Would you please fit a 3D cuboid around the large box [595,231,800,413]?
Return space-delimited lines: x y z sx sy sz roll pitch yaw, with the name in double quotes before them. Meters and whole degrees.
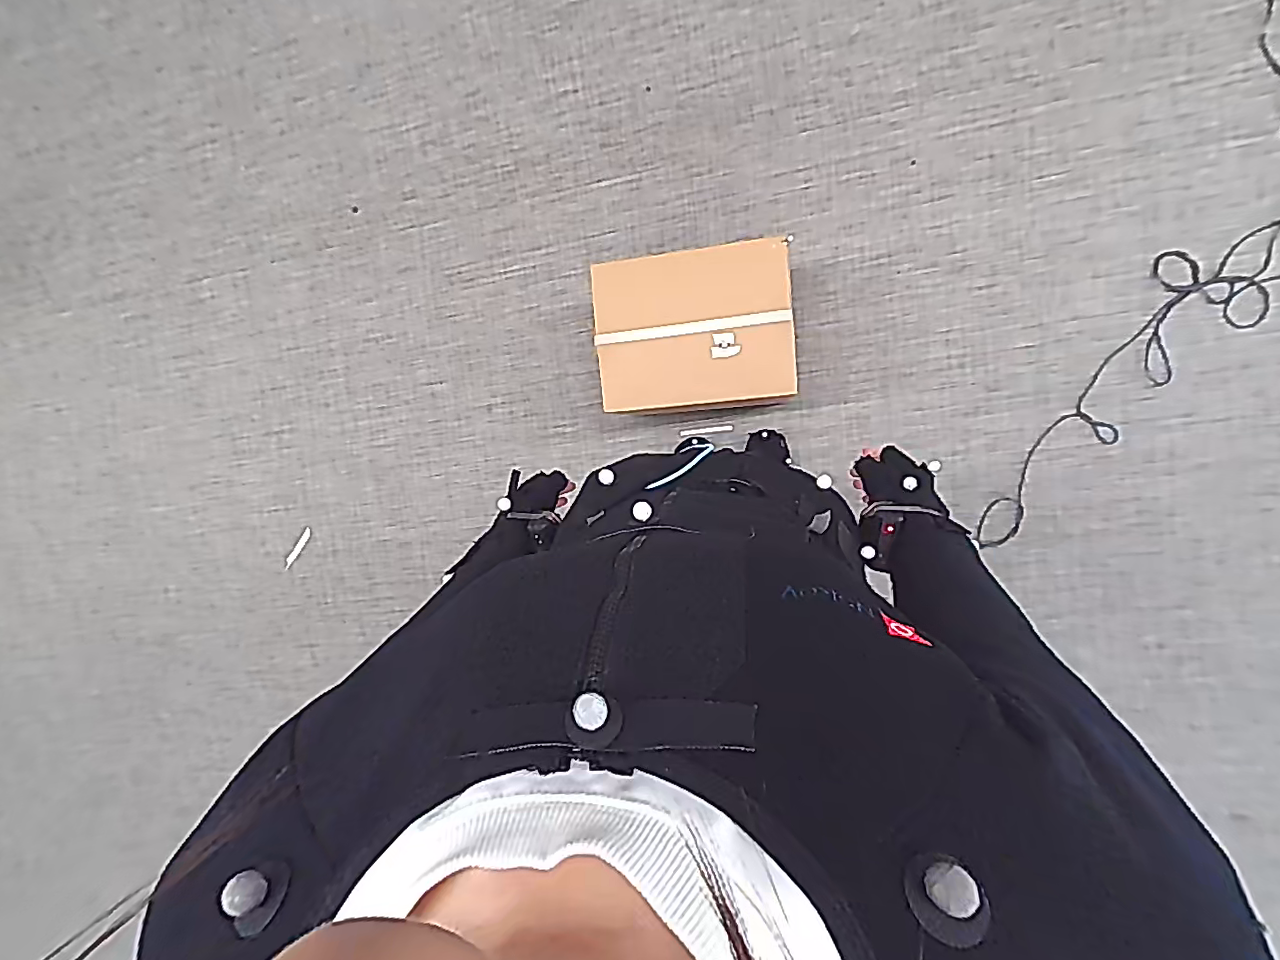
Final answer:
"large box" 0.139 -0.334 1.256 0.408 0.320 0.320 -4 95 11
